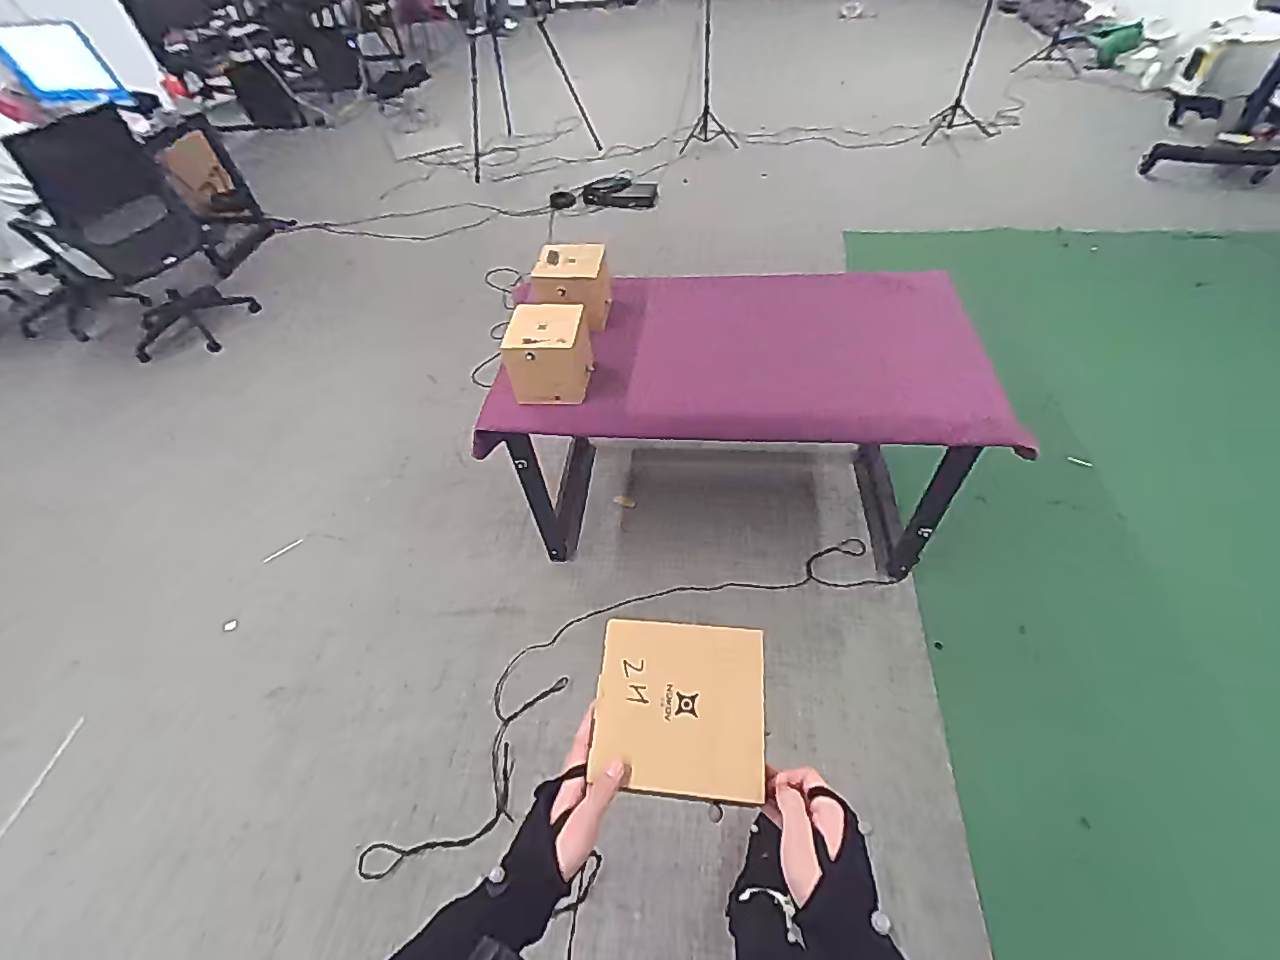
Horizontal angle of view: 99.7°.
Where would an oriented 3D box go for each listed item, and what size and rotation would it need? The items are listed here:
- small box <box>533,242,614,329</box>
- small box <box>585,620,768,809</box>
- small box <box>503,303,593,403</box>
[{"bbox_3d":[-0.174,-0.529,1.477,0.179,0.176,0.168,3,52,7],"label":"small box"},{"bbox_3d":[0.049,0.271,0.619,0.179,0.176,0.168,2,59,8],"label":"small box"},{"bbox_3d":[-0.210,-0.304,1.295,0.168,0.176,0.179,1,49,6],"label":"small box"}]
